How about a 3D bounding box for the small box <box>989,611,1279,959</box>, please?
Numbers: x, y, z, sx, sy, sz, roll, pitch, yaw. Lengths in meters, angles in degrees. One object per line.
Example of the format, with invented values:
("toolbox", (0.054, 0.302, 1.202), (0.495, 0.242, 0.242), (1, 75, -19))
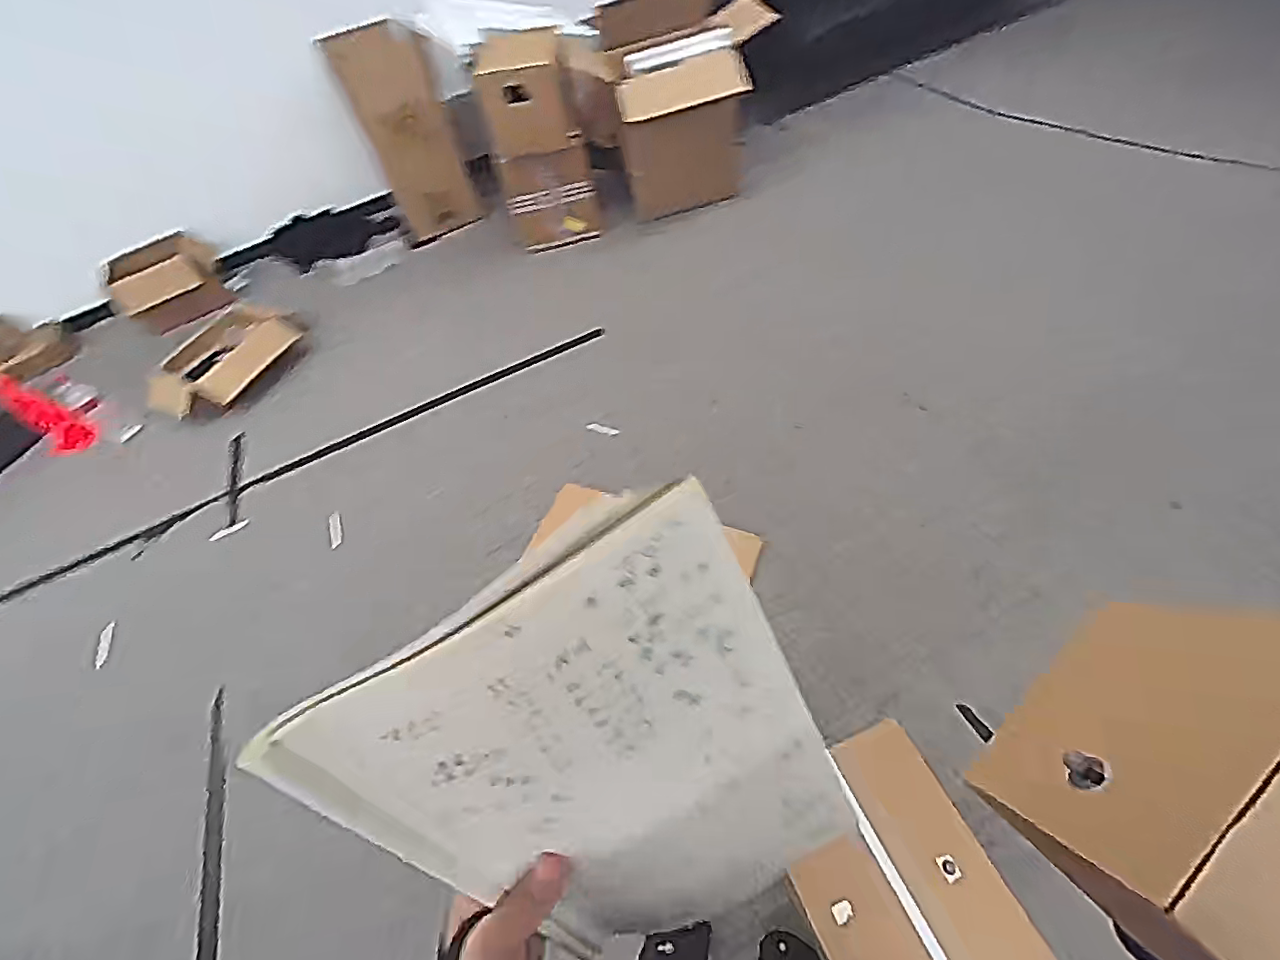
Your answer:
("small box", (0.348, 0.196, 0.309), (0.168, 0.176, 0.179), (42, 83, 7))
